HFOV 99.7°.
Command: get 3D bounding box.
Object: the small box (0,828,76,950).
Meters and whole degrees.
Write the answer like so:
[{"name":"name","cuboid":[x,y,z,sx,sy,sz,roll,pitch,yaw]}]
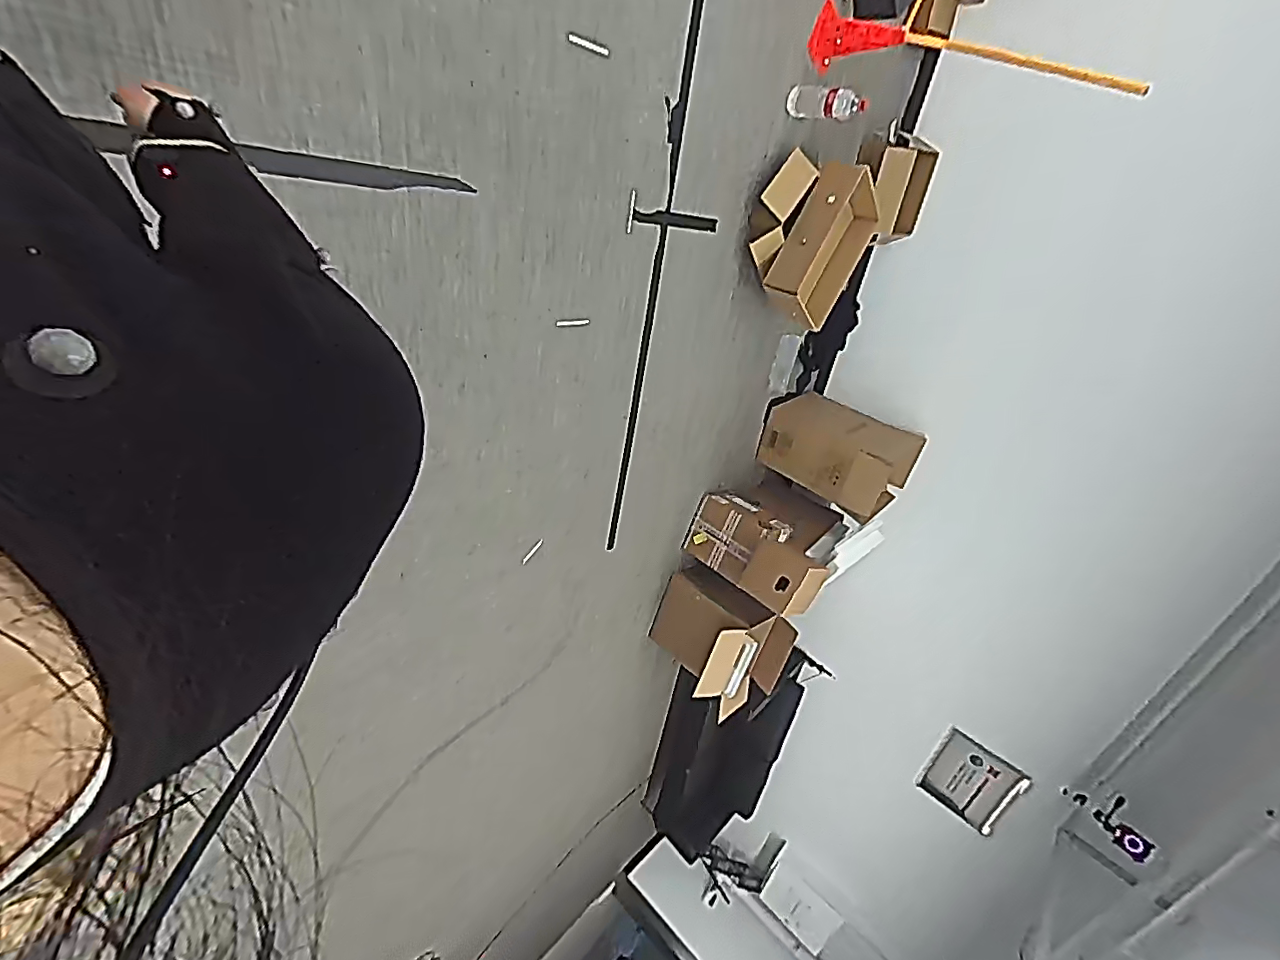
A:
[{"name":"small box","cuboid":[-1.581,1.035,1.369,0.168,0.176,0.179,-22,134,-42]}]
